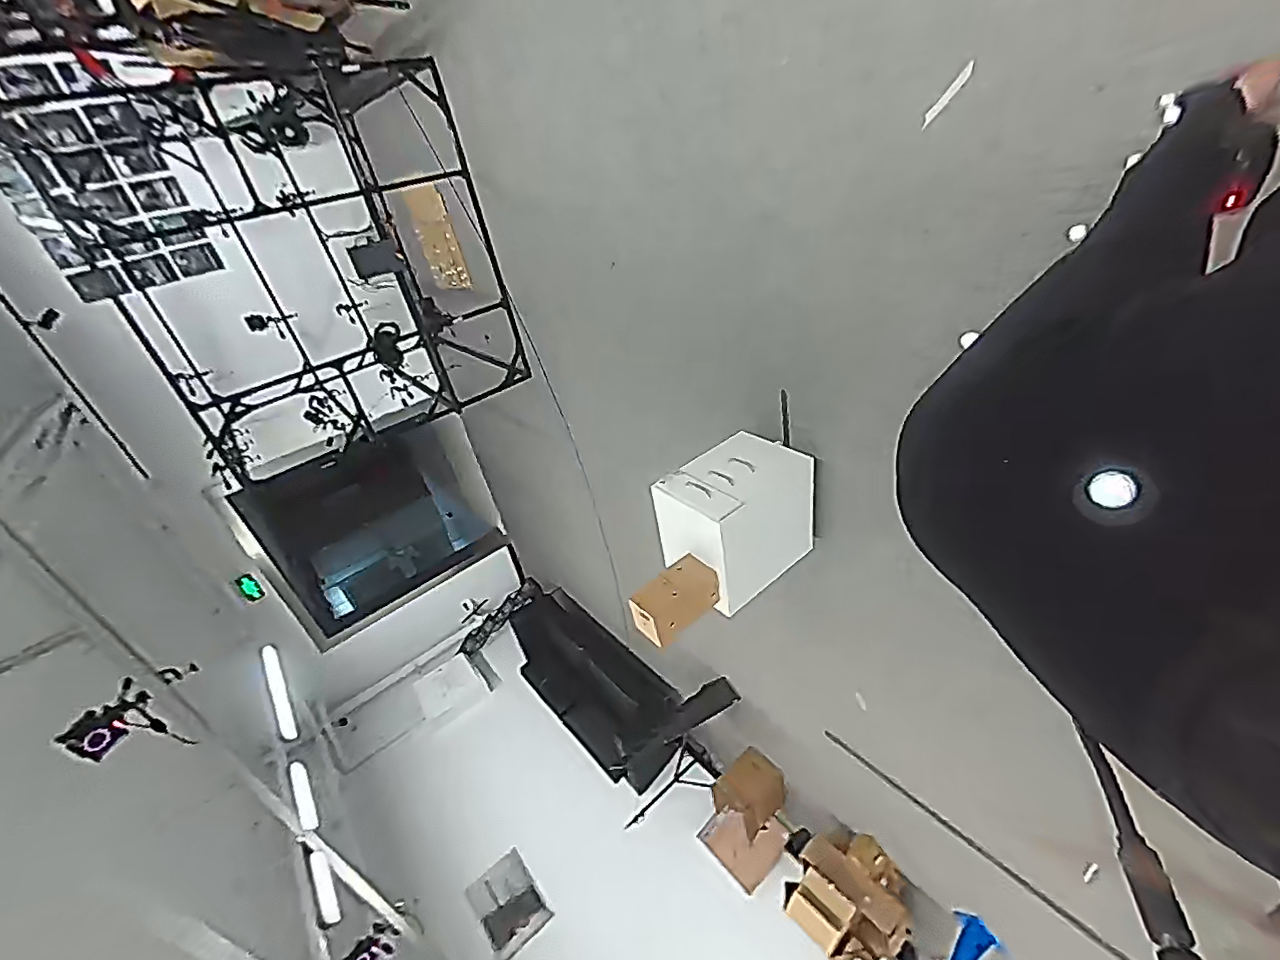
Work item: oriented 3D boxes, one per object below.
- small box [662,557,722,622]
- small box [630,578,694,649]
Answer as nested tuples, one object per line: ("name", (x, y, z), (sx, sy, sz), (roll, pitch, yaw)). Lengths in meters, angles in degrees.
("small box", (0.215, 0.439, 2.205), (0.179, 0.176, 0.168), (31, 143, 44))
("small box", (0.090, 0.521, 2.136), (0.168, 0.176, 0.179), (28, 142, 48))
